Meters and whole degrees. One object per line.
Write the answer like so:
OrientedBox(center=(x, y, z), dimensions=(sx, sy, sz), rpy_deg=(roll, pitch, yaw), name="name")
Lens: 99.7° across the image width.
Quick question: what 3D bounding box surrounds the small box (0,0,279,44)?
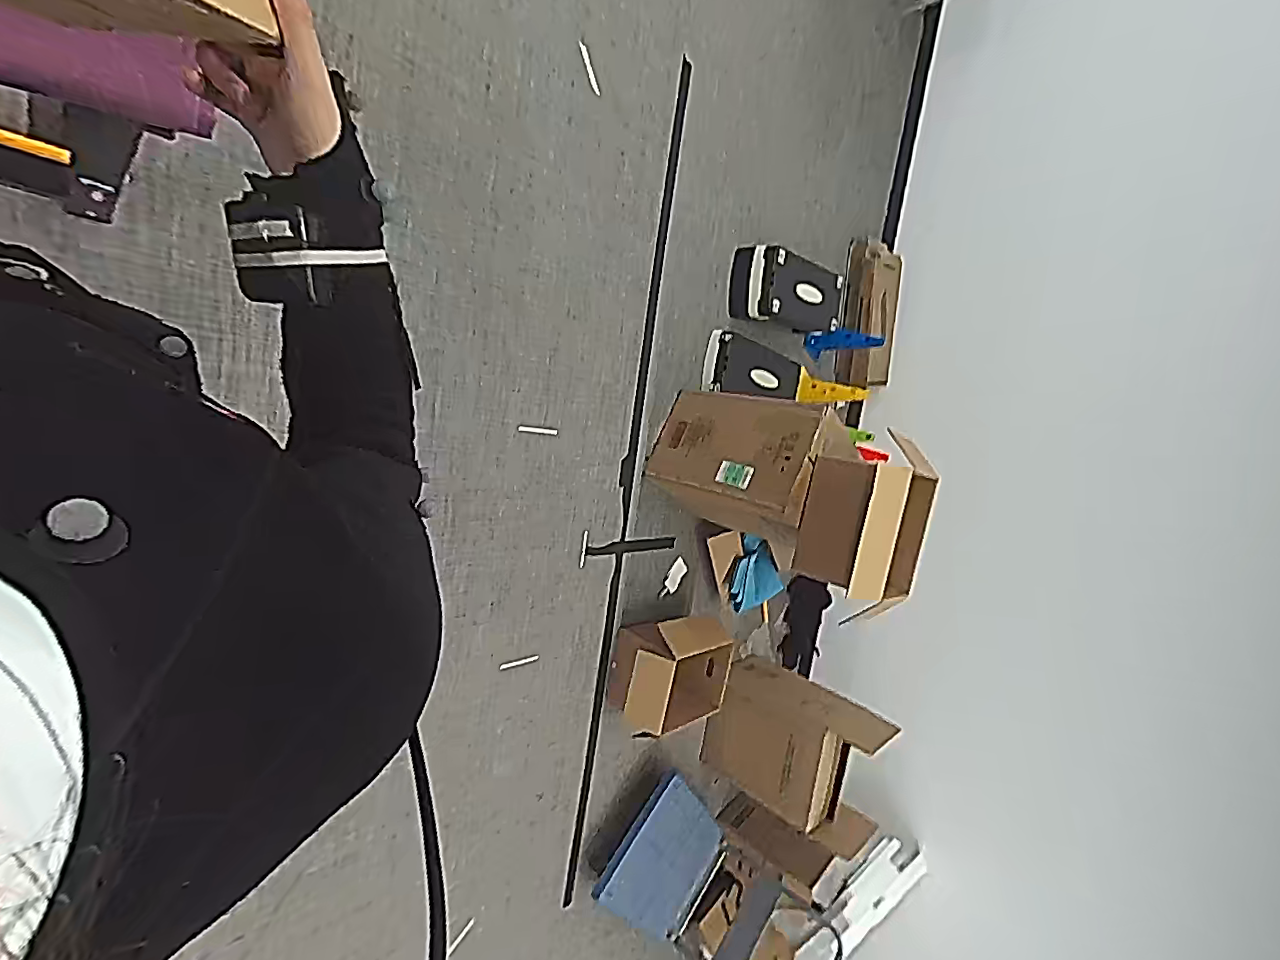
OrientedBox(center=(-0.281, -0.306, 0.202), dimensions=(0.179, 0.168, 0.176), rpy_deg=(-52, 154, -67), name="small box")
